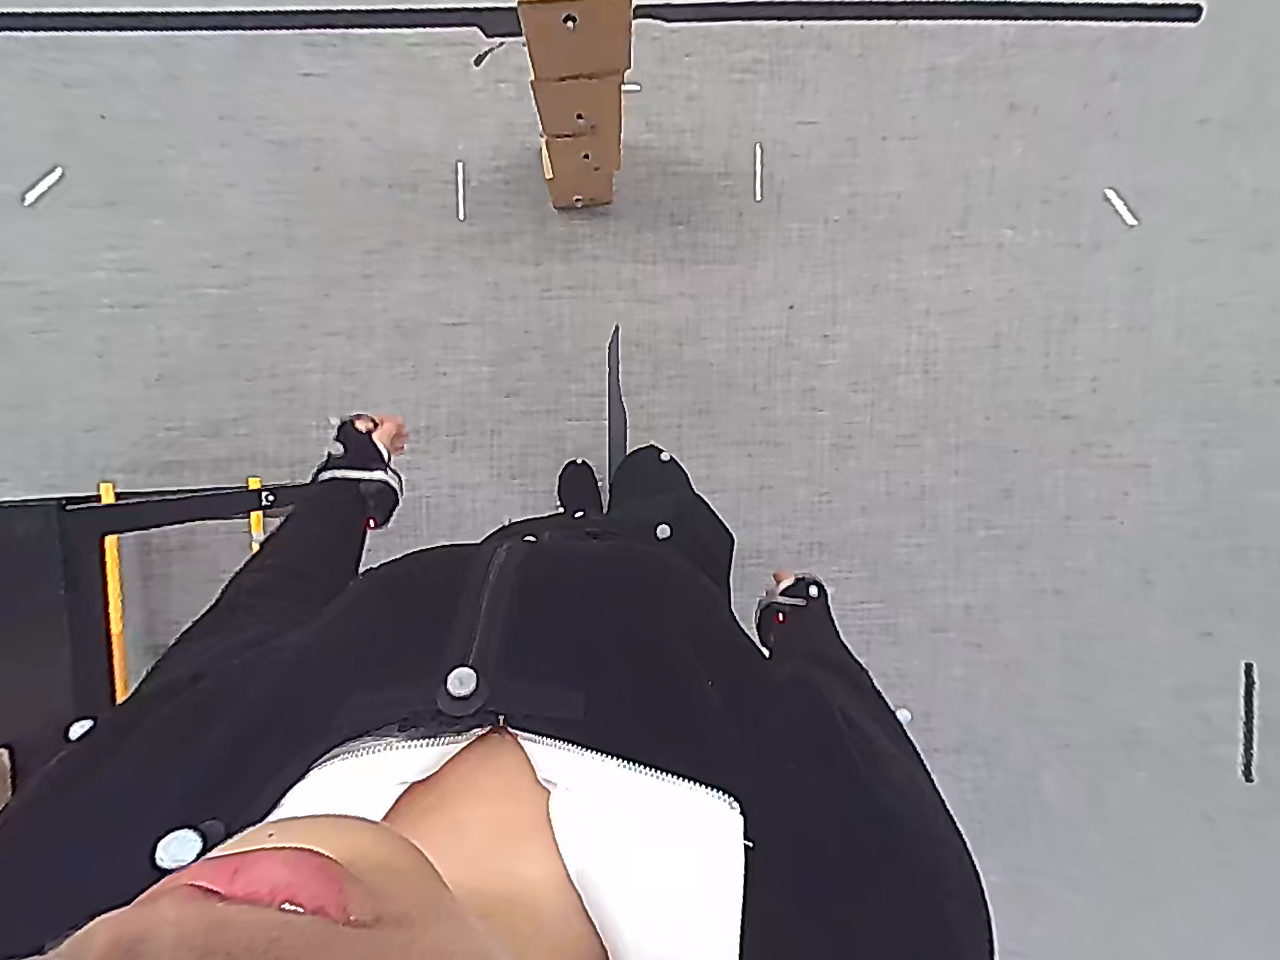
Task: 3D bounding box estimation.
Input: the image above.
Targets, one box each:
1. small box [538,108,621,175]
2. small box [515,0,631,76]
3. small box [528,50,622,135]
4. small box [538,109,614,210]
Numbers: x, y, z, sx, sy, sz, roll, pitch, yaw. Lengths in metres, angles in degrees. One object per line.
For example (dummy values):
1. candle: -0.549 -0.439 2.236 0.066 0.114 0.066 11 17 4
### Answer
1. small box: -0.134 -0.807 1.205 0.168 0.176 0.179 -8 94 -1
2. small box: -0.108 -0.795 0.876 0.179 0.176 0.168 -7 93 -2
3. small box: -0.121 -0.802 1.040 0.168 0.176 0.179 -3 93 -1
4. small box: -0.157 -0.815 1.368 0.168 0.176 0.179 -7 94 0
